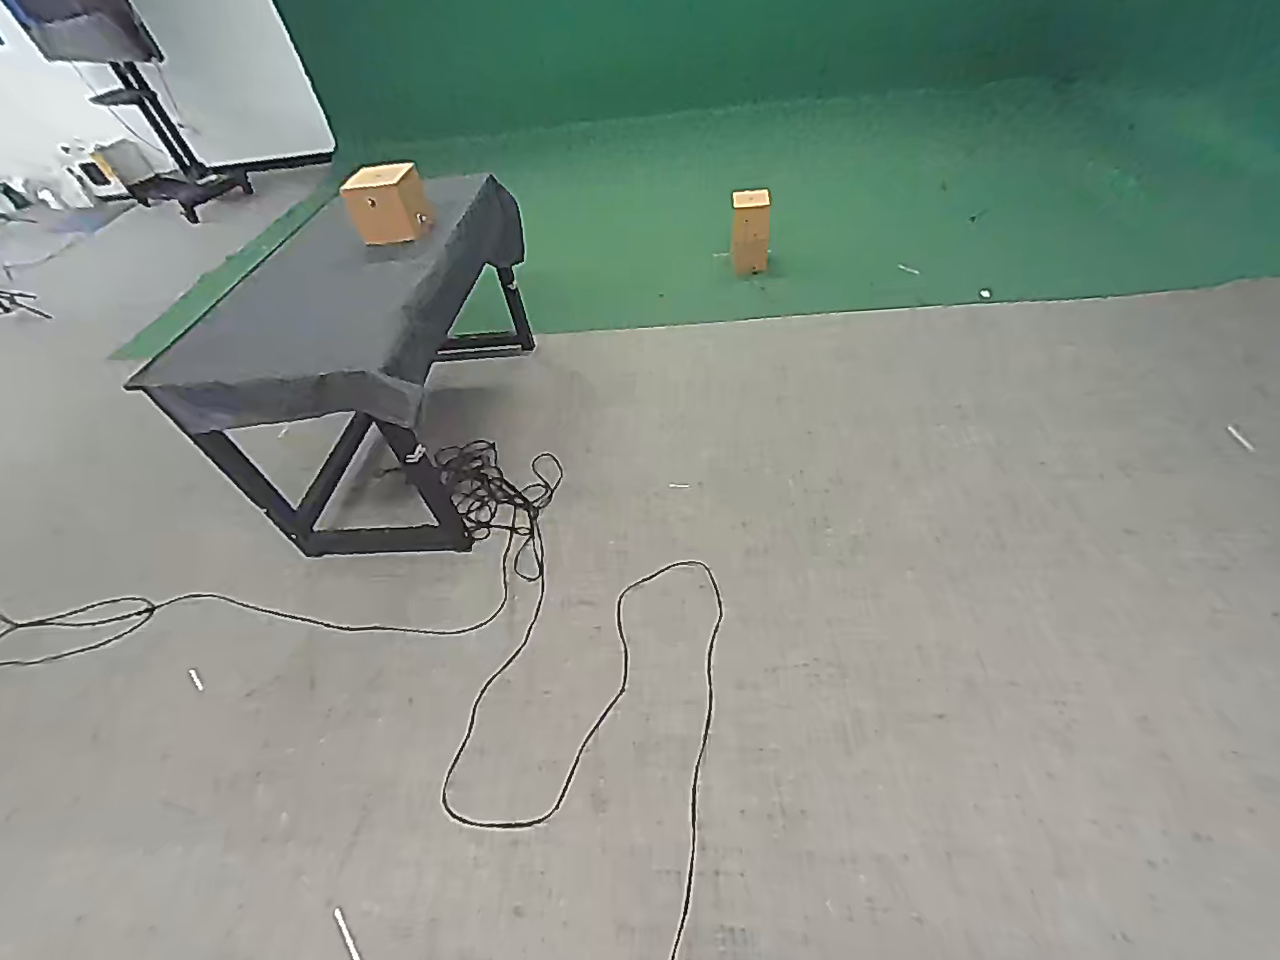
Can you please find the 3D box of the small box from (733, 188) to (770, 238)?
[{"bbox_3d":[0.539,-1.288,2.617,0.168,0.176,0.179,-1,48,8],"label":"small box"}]

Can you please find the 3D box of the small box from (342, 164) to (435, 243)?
[{"bbox_3d":[-0.761,-0.842,1.656,0.179,0.176,0.168,-1,49,7],"label":"small box"}]
